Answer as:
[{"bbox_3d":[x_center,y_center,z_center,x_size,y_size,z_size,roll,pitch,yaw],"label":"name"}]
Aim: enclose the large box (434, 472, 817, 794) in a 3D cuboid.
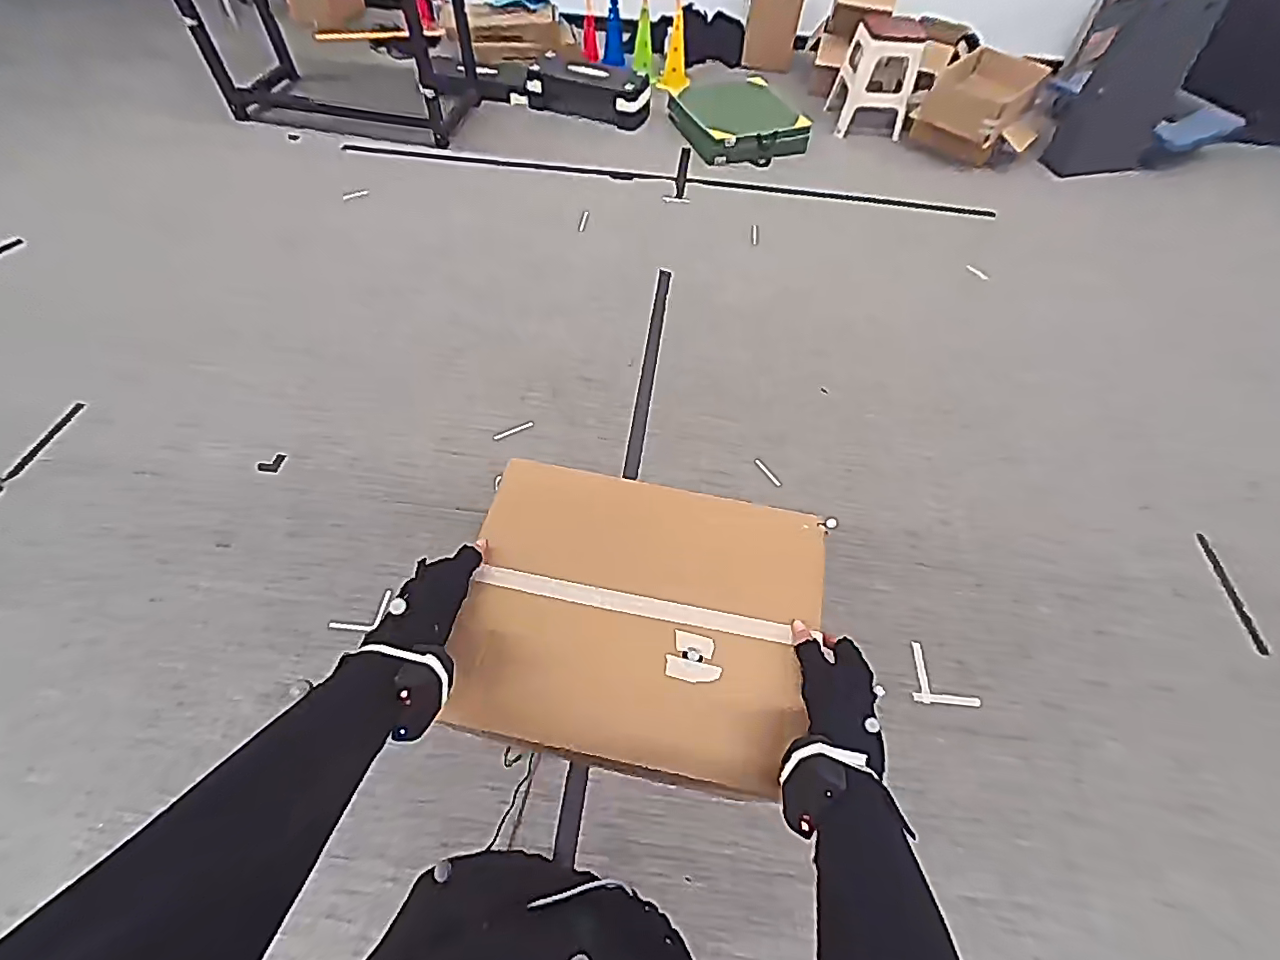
[{"bbox_3d":[-0.004,0.225,0.754,0.408,0.320,0.320,11,62,3],"label":"large box"}]
